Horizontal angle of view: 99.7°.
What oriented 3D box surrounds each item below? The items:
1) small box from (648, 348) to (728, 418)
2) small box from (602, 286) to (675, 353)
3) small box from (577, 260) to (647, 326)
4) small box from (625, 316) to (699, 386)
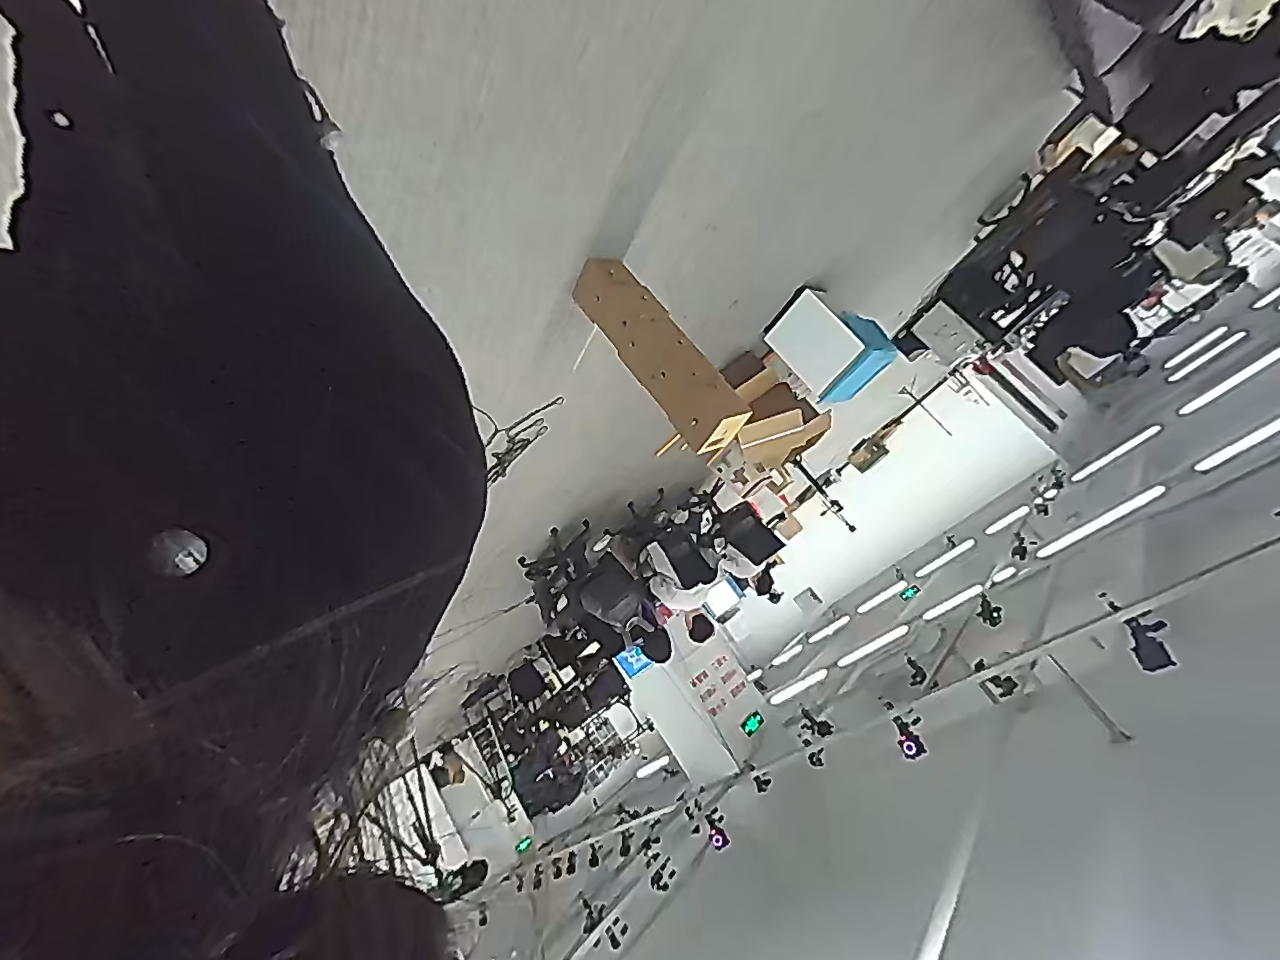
[{"bbox_3d":[0.162,-0.339,1.868,0.179,0.176,0.168,-18,153,-42],"label":"small box"},{"bbox_3d":[-0.012,-0.590,1.984,0.168,0.176,0.179,-17,153,-44],"label":"small box"},{"bbox_3d":[-0.111,-0.708,2.041,0.168,0.176,0.179,-18,155,-44],"label":"small box"},{"bbox_3d":[0.069,-0.460,1.925,0.168,0.176,0.179,-19,155,-43],"label":"small box"}]
